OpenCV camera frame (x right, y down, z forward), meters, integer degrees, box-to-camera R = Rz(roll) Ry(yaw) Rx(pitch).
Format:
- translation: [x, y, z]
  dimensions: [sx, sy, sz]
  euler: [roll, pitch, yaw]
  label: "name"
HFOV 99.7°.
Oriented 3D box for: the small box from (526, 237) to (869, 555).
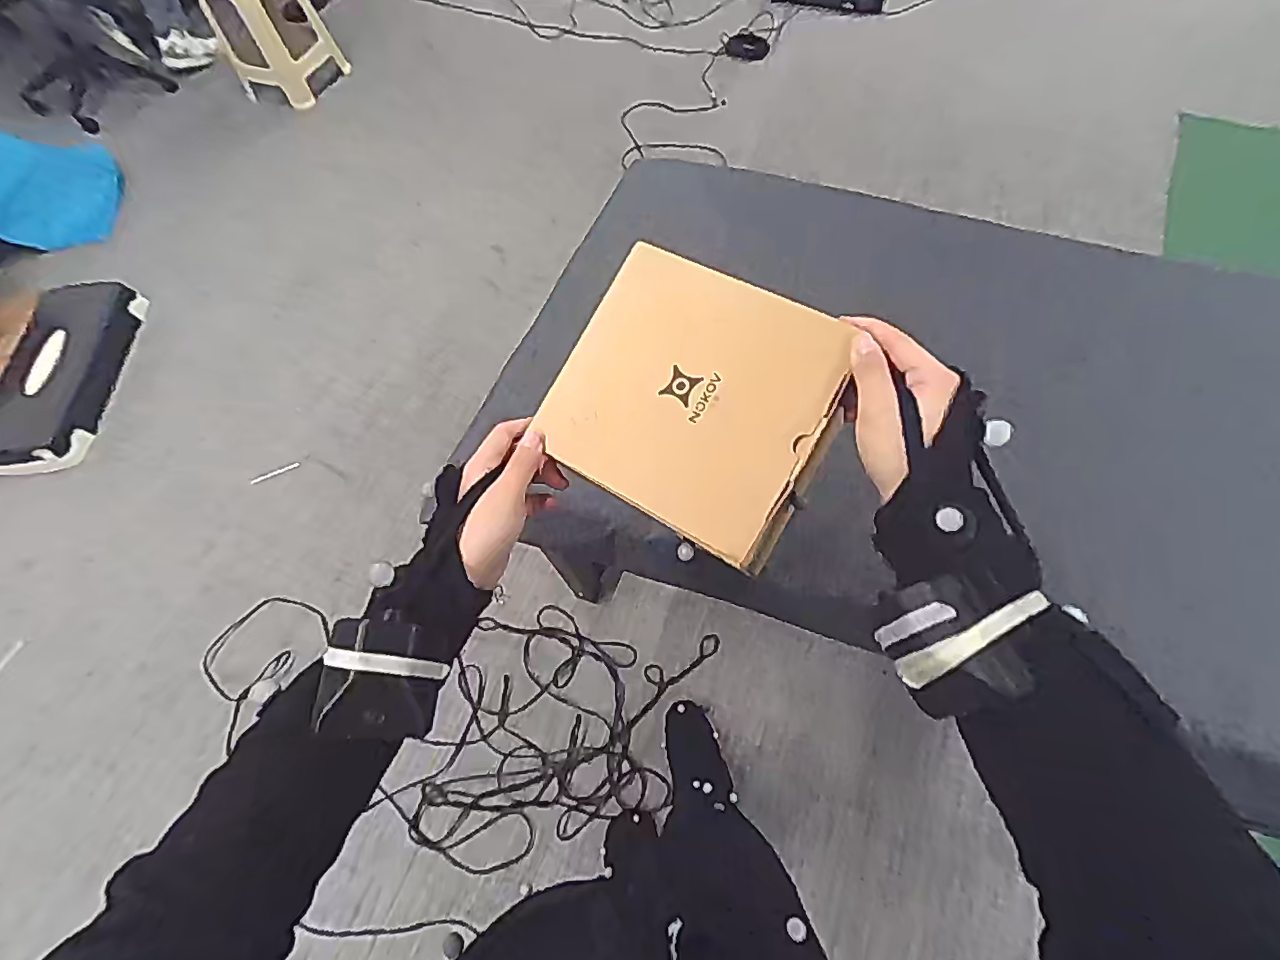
- translation: [0.049, -0.050, 0.431]
  dimensions: [0.179, 0.176, 0.168]
  euler: [29, 87, 17]
  label: "small box"
